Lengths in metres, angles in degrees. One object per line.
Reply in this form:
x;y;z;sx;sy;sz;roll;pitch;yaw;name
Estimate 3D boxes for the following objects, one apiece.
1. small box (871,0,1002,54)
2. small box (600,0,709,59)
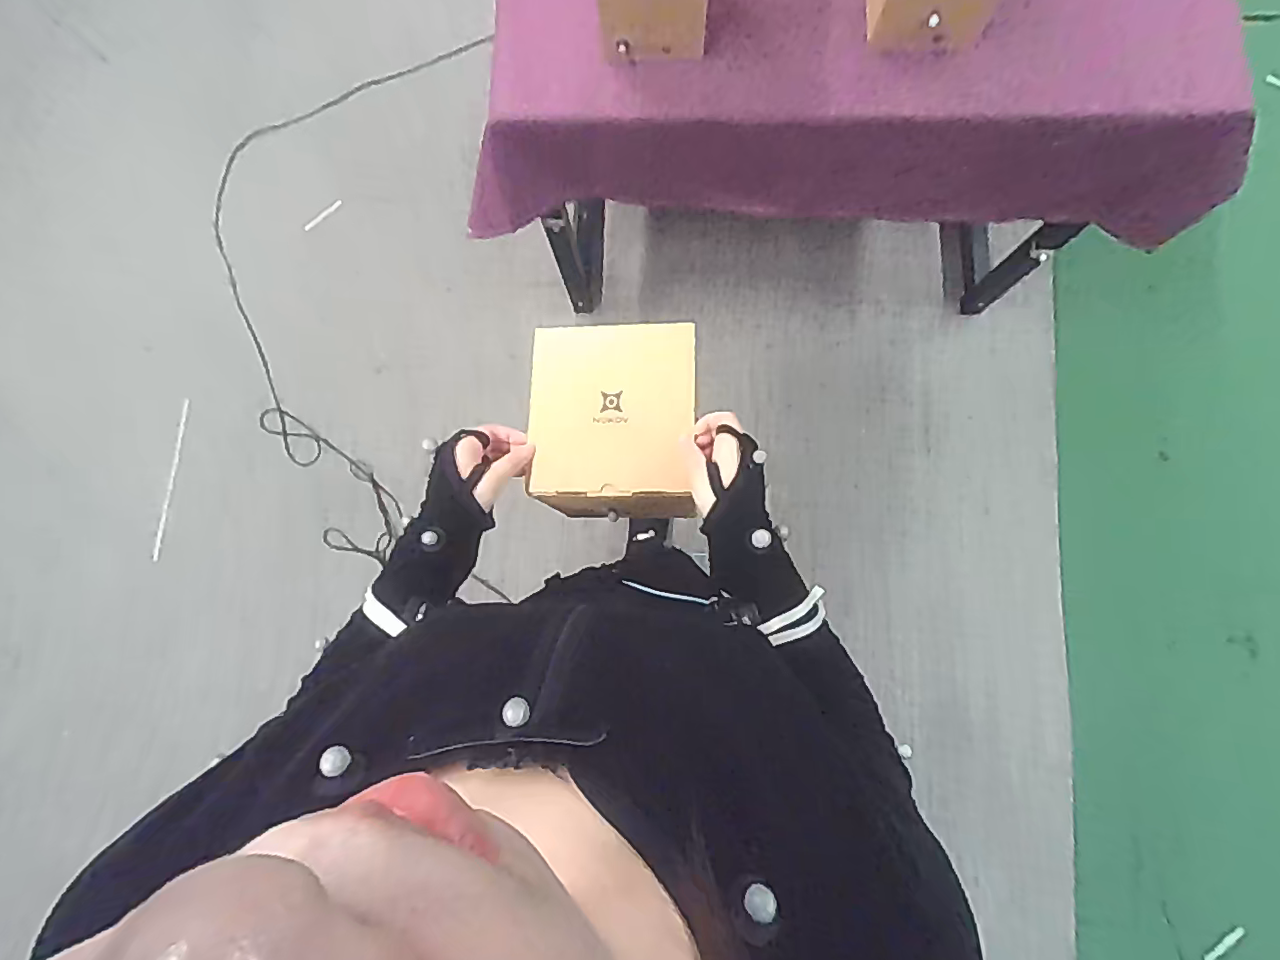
0.457;-0.791;0.808;0.168;0.176;0.179;4;81;4;small box
0.024;-0.788;0.828;0.168;0.176;0.179;1;80;2;small box
